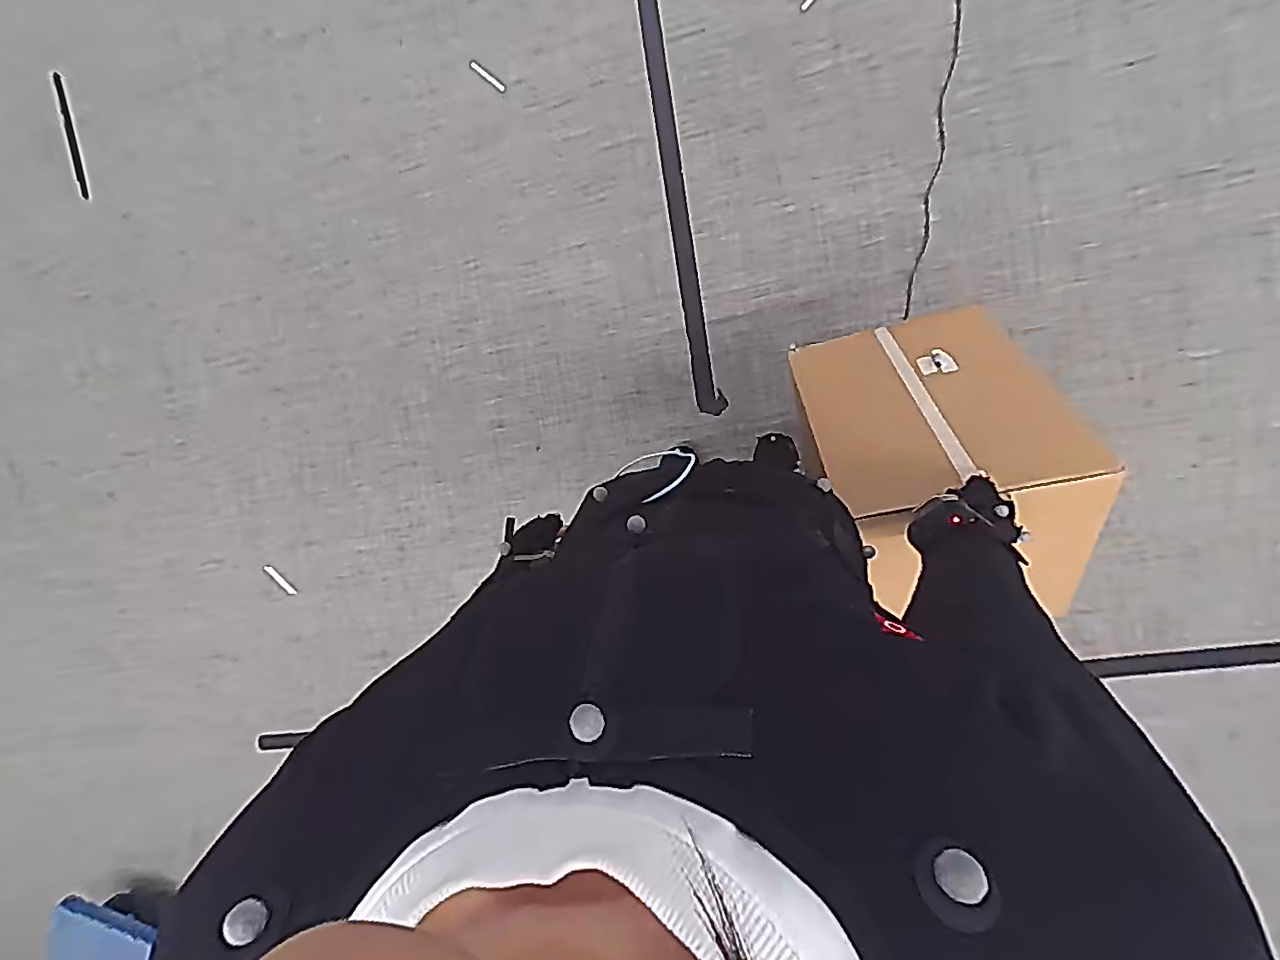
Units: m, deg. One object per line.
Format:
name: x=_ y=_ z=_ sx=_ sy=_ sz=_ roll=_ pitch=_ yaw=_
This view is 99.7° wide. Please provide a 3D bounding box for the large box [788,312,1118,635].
large box: x=0.458 y=-0.014 z=0.896 sx=0.320 sy=0.408 sz=0.320 roll=-12 pitch=132 yaw=11
